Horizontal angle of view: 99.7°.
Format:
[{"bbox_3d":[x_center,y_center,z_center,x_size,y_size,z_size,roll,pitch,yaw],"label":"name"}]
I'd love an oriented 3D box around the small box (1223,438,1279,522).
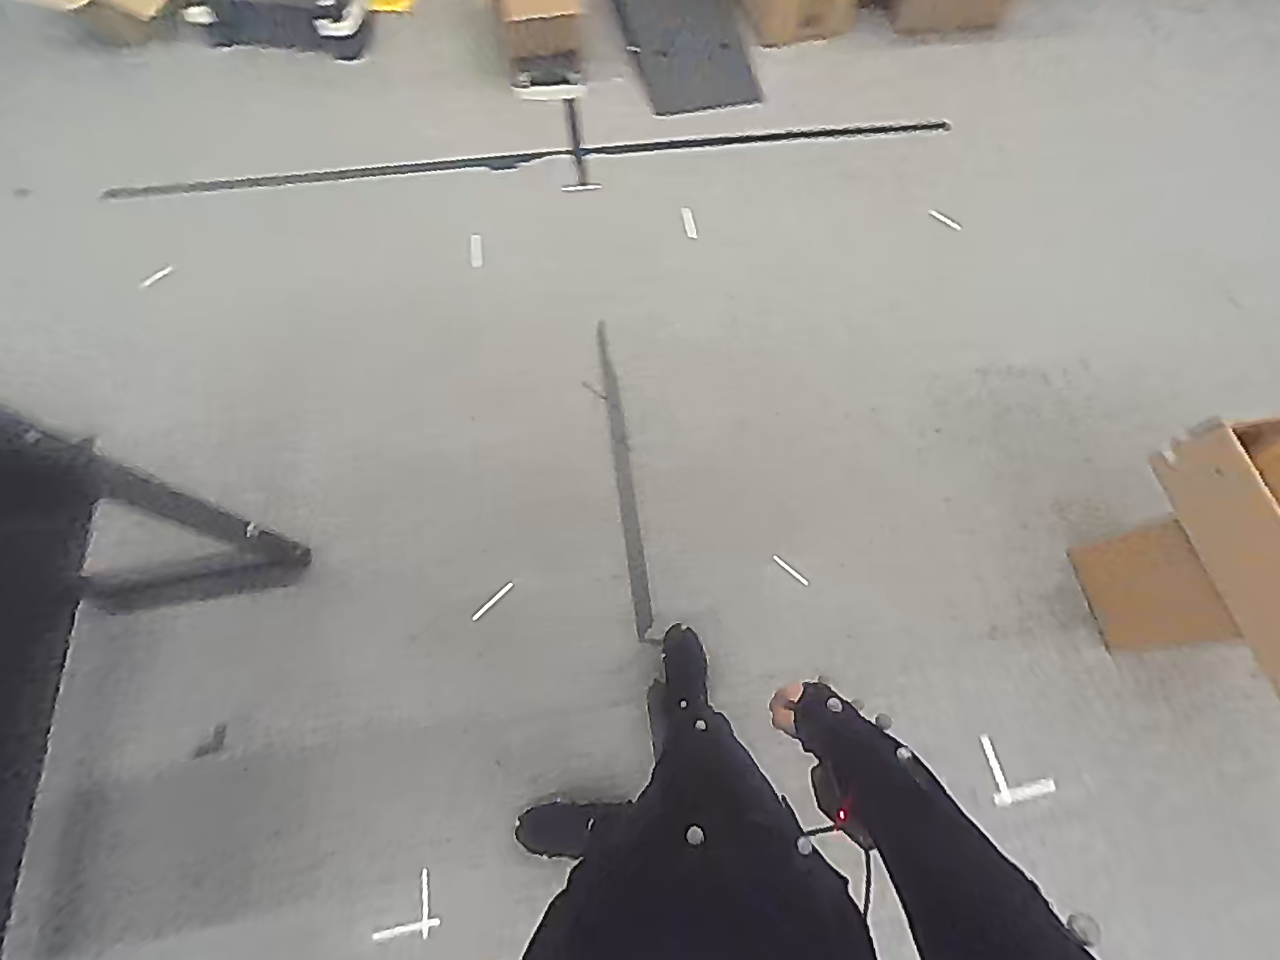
[{"bbox_3d":[1.491,-0.017,1.202,0.179,0.176,0.168,-9,68,-6],"label":"small box"}]
